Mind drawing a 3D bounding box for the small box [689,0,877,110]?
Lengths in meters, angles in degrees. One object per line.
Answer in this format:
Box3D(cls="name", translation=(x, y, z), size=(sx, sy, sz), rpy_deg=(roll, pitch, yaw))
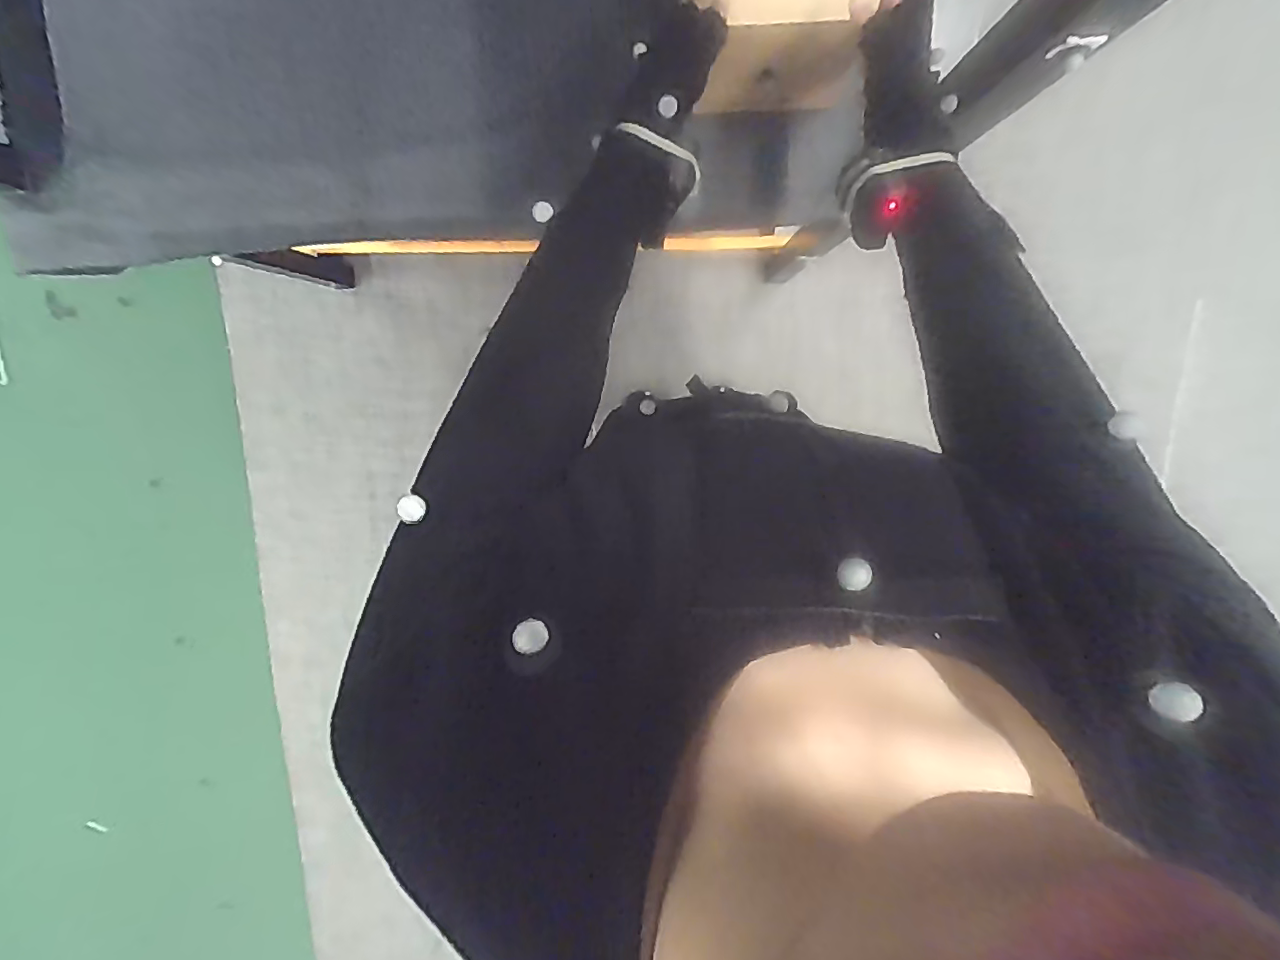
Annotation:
Box3D(cls="small box", translation=(0.139, -0.514, 0.563), size=(0.168, 0.176, 0.179), rpy_deg=(0, 100, 2))
